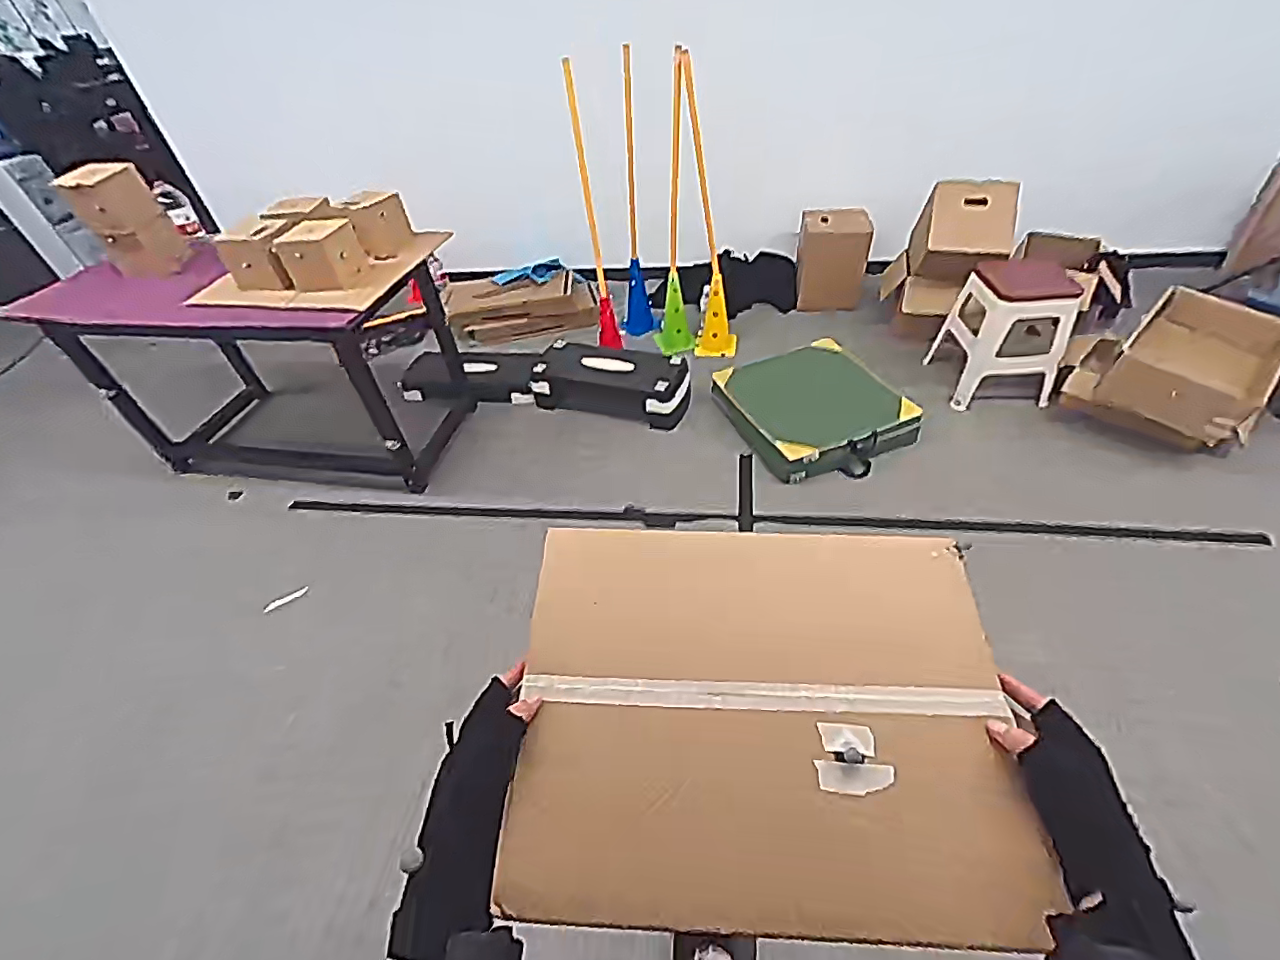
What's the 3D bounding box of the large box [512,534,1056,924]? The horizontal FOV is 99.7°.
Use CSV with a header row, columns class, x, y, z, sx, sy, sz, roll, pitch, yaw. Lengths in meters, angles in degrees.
class,x,y,z,sx,sy,sz,roll,pitch,yaw
large box,0.107,0.270,0.597,0.408,0.320,0.320,1,56,2
